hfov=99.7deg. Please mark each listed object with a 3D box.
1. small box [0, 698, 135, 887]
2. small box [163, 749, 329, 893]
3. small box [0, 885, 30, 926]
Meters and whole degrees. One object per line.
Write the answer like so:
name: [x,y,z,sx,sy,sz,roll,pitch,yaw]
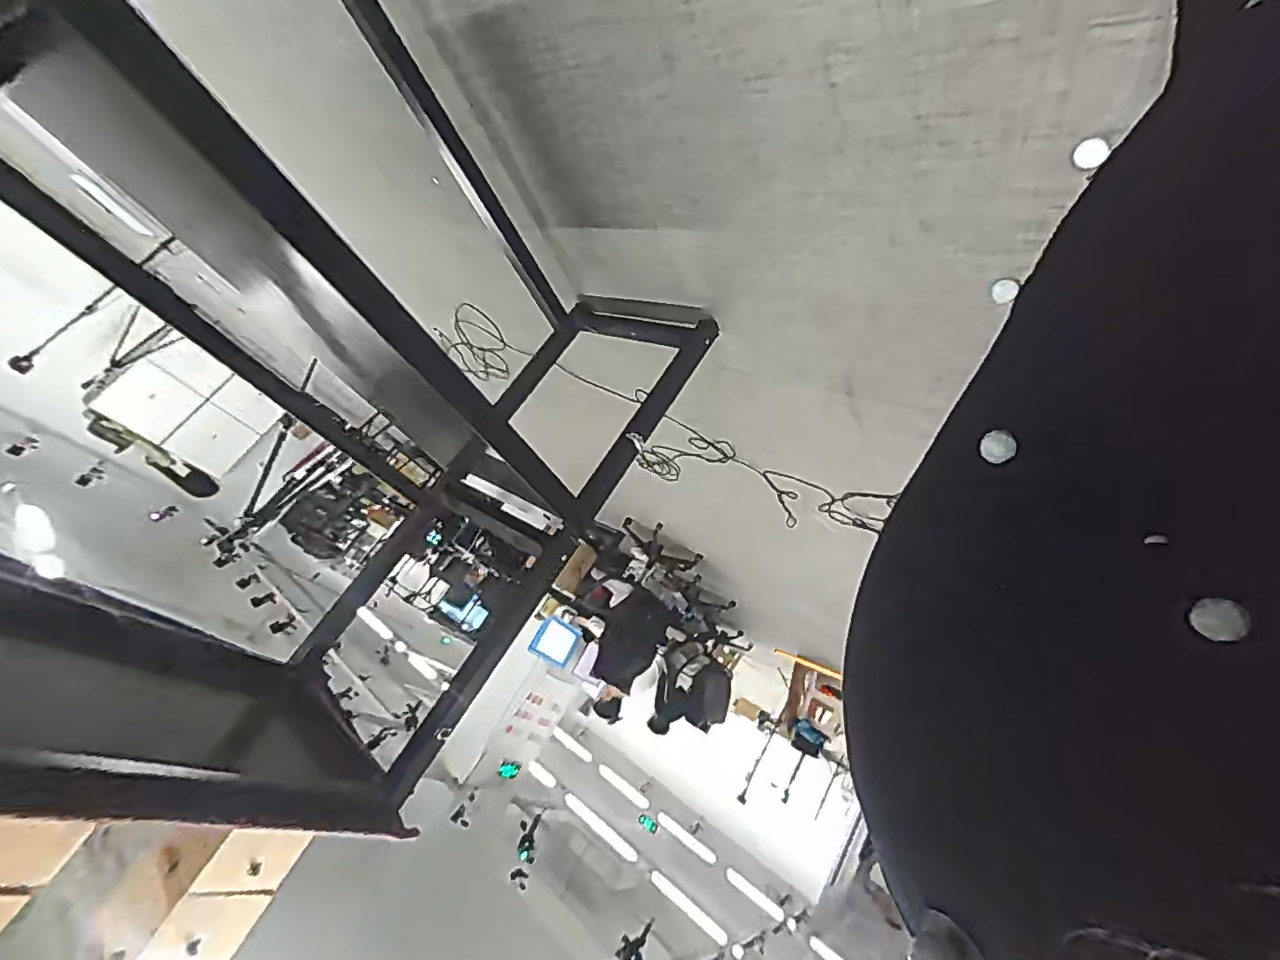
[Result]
small box: [-0.900,0.448,0.785,0.168,0.176,0.179,22,159,36]
small box: [-0.750,0.652,1.045,0.168,0.176,0.179,19,157,36]
small box: [-0.990,0.572,0.733,0.179,0.176,0.168,22,157,39]
